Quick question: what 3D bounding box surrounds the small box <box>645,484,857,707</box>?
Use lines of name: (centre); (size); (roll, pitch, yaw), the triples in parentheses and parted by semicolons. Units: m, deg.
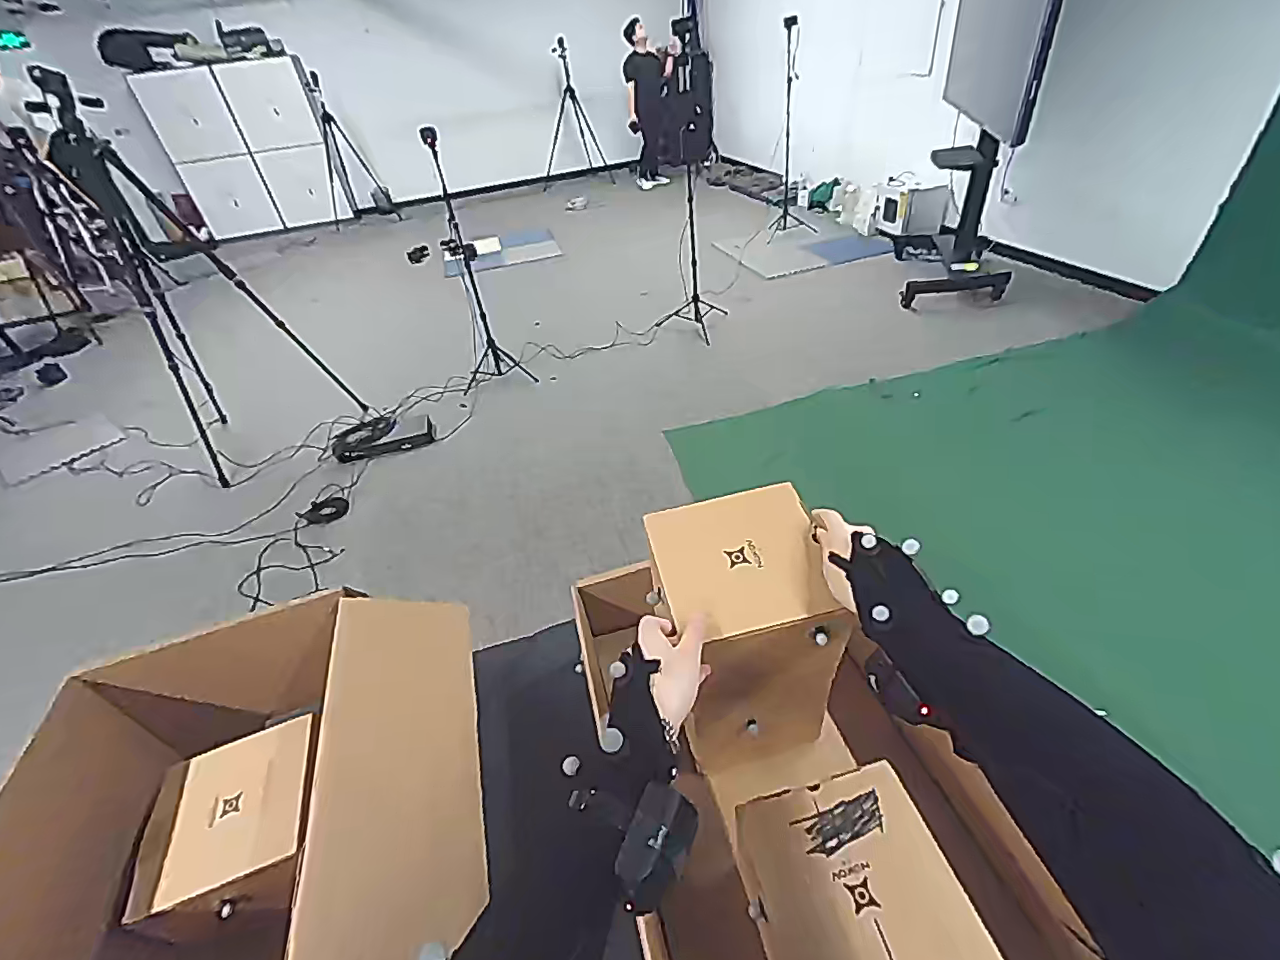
small box: (0.113, 0.134, 0.612); (0.179, 0.176, 0.168); (-12, 47, -5)

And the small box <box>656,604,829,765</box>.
small box: (0.134, 0.256, 0.734); (0.179, 0.176, 0.168); (-15, 42, -6)
